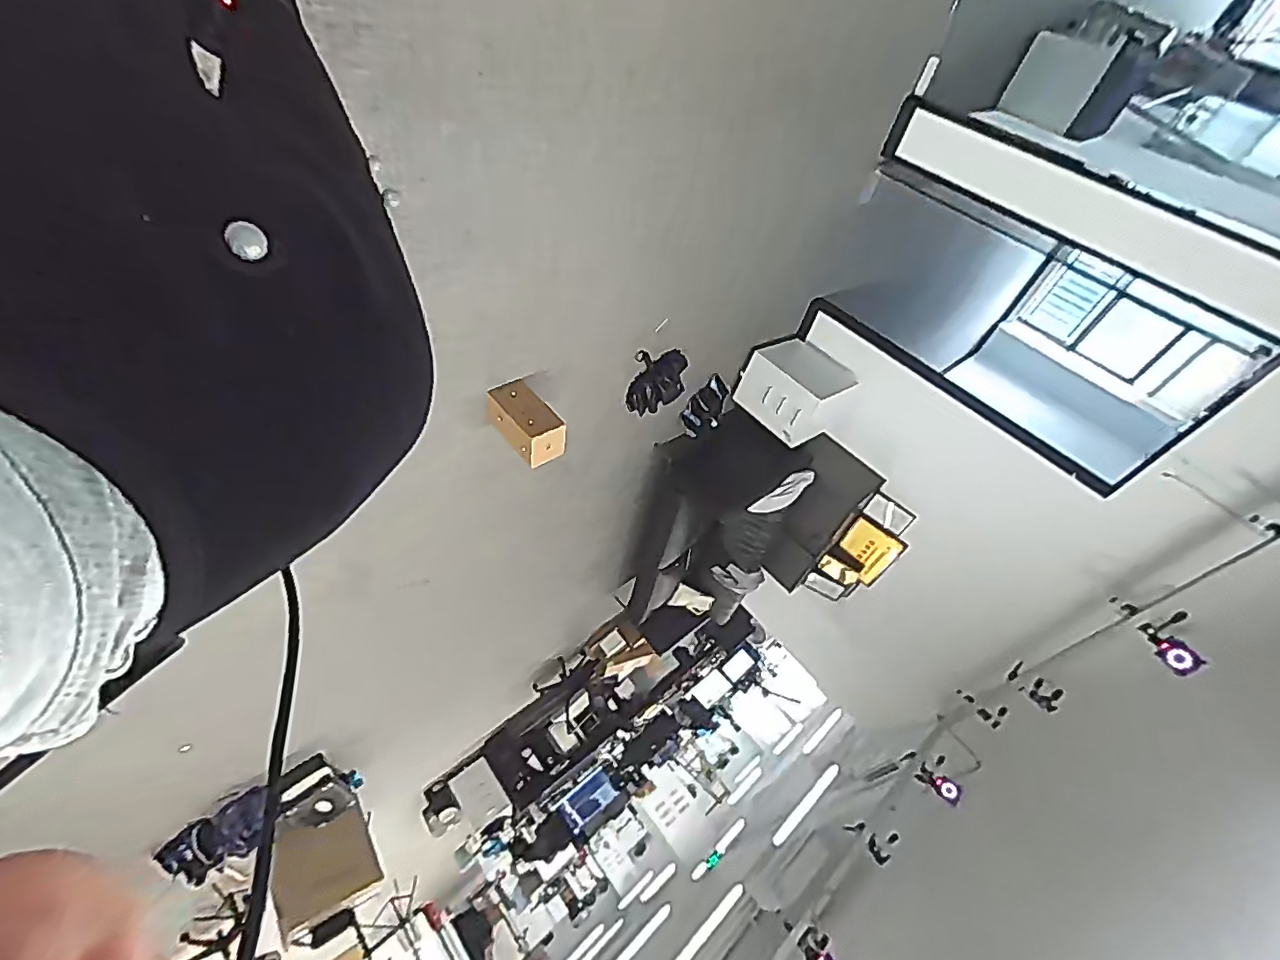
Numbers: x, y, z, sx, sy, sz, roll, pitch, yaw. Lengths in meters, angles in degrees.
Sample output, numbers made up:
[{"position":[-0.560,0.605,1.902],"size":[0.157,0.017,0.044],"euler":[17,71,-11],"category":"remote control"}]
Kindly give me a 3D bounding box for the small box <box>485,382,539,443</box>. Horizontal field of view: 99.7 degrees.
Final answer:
[{"position":[-0.543,-0.296,2.294],"size":[0.168,0.176,0.179],"euler":[-31,152,-30],"category":"small box"}]

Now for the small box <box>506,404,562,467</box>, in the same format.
[{"position":[-0.438,-0.191,2.227],"size":[0.168,0.176,0.179],"euler":[-29,153,-30],"category":"small box"}]
